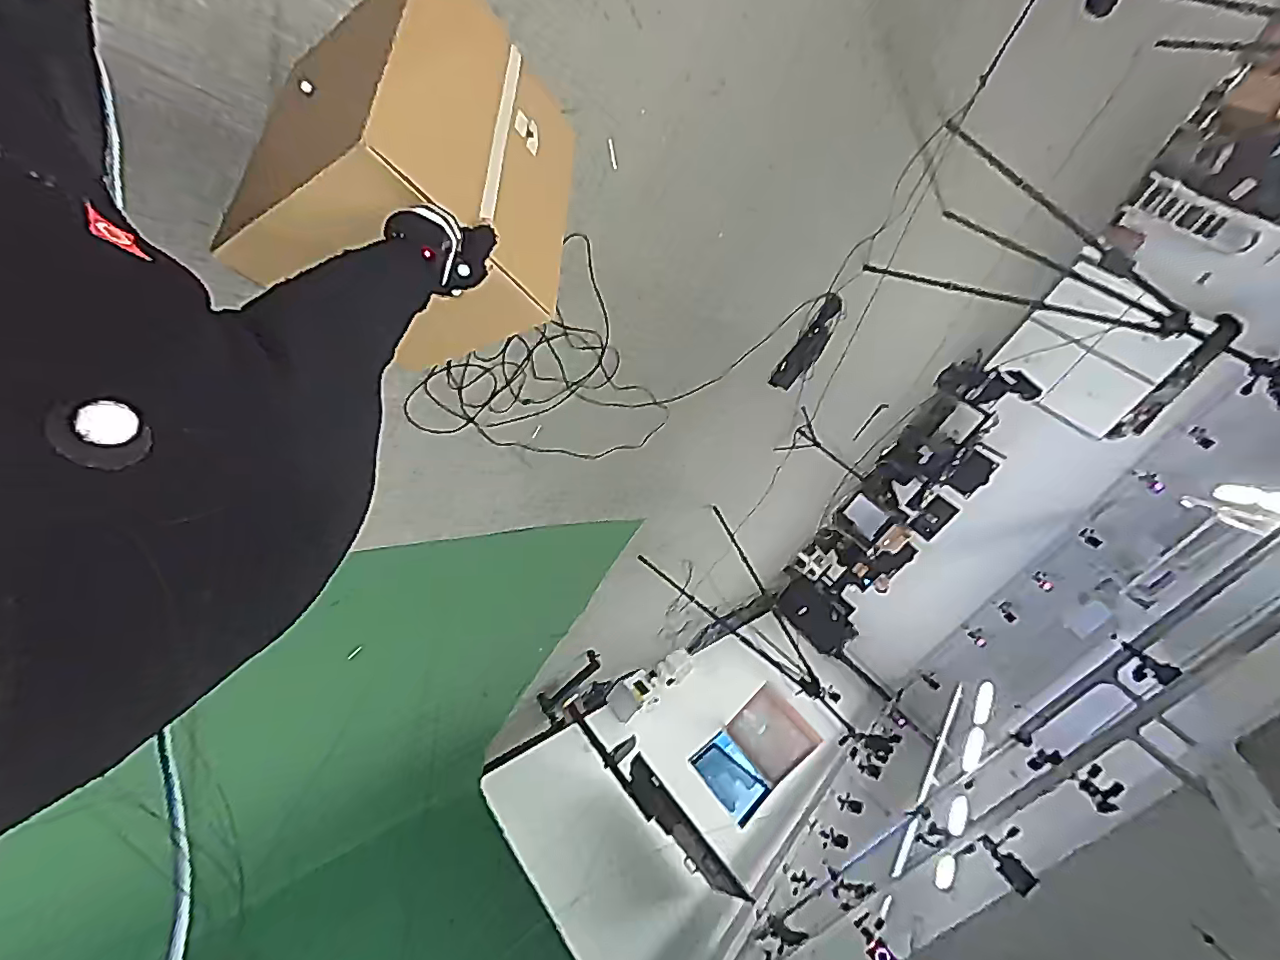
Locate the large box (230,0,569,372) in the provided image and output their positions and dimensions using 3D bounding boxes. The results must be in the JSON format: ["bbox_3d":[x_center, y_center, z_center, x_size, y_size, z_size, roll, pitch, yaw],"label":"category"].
[{"bbox_3d":[-0.331,-0.440,0.819,0.320,0.408,0.320,-12,154,27],"label":"large box"}]
